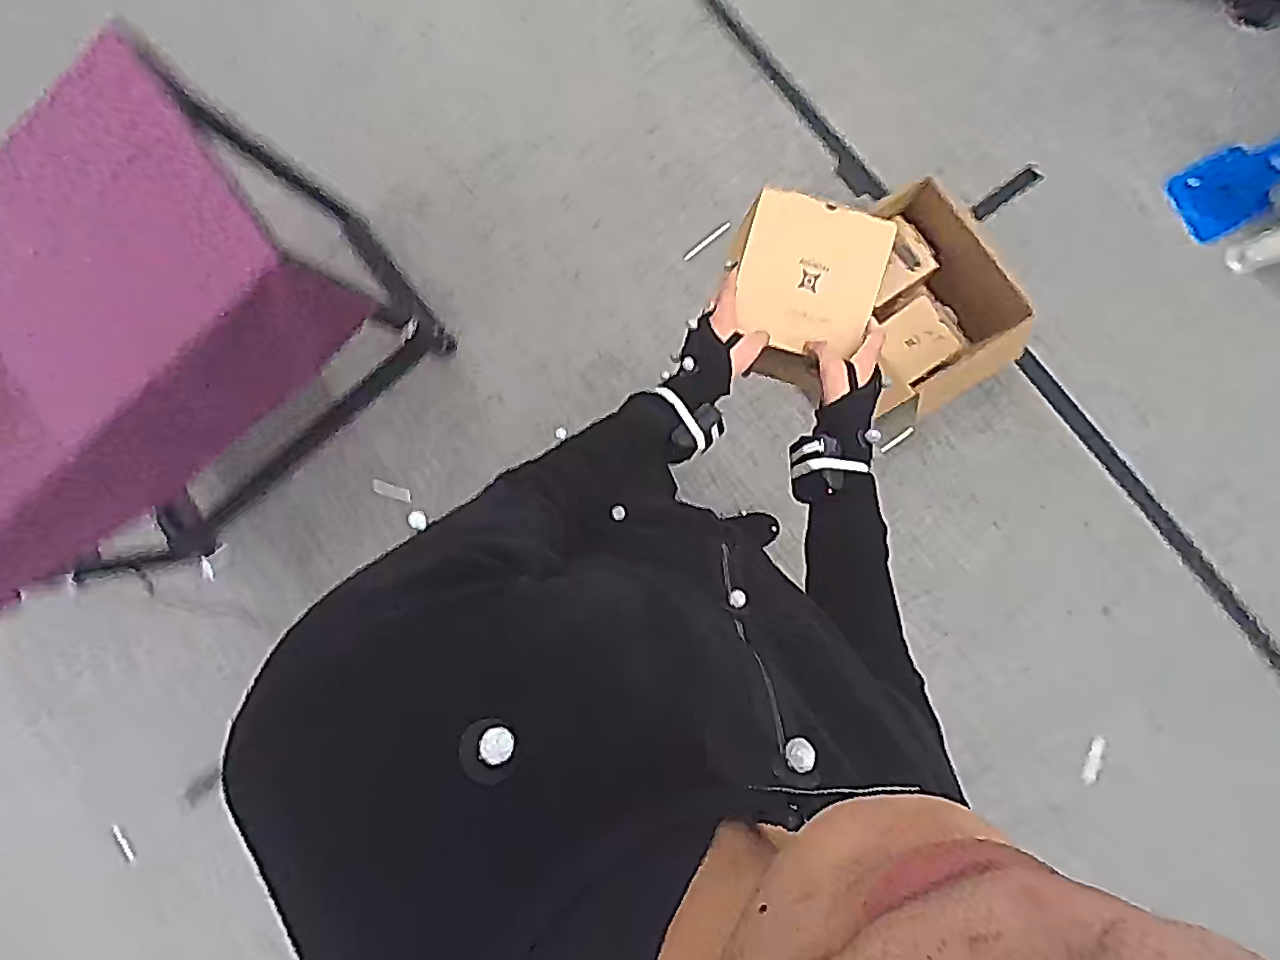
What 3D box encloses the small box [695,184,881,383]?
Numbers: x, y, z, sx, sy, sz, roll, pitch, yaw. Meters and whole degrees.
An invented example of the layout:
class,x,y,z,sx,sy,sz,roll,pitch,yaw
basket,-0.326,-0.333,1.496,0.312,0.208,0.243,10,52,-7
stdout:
class,x,y,z,sx,sy,sz,roll,pitch,yaw
small box,0.179,-0.241,0.709,0.168,0.176,0.179,15,91,-4
